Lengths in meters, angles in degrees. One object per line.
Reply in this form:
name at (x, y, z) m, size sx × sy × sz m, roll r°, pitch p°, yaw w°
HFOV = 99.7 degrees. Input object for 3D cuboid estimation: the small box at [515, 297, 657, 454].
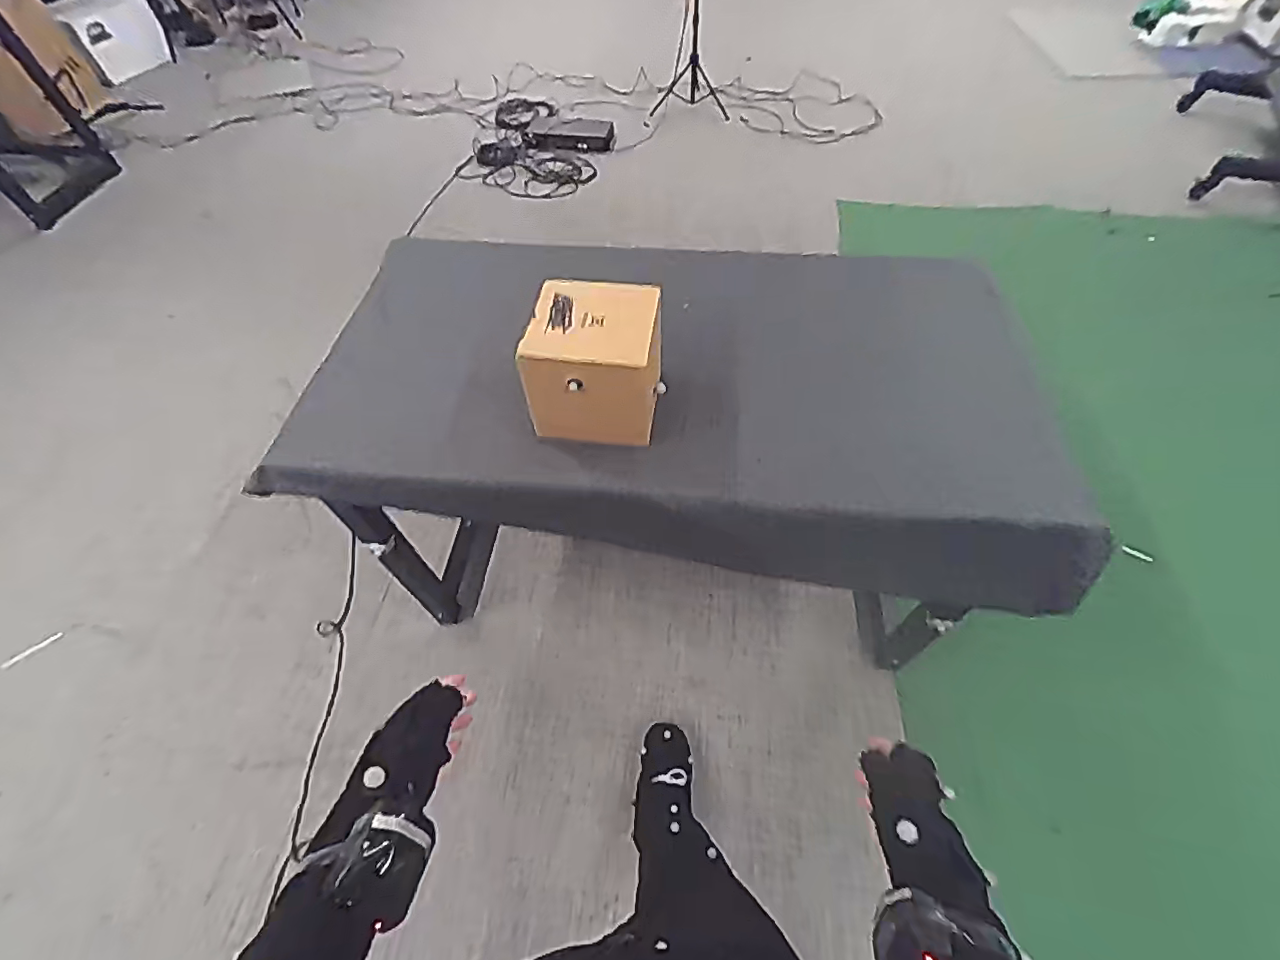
small box at (-0.070, -0.156, 0.829) m, size 0.179 × 0.176 × 0.168 m, roll 6°, pitch 56°, yaw 5°
